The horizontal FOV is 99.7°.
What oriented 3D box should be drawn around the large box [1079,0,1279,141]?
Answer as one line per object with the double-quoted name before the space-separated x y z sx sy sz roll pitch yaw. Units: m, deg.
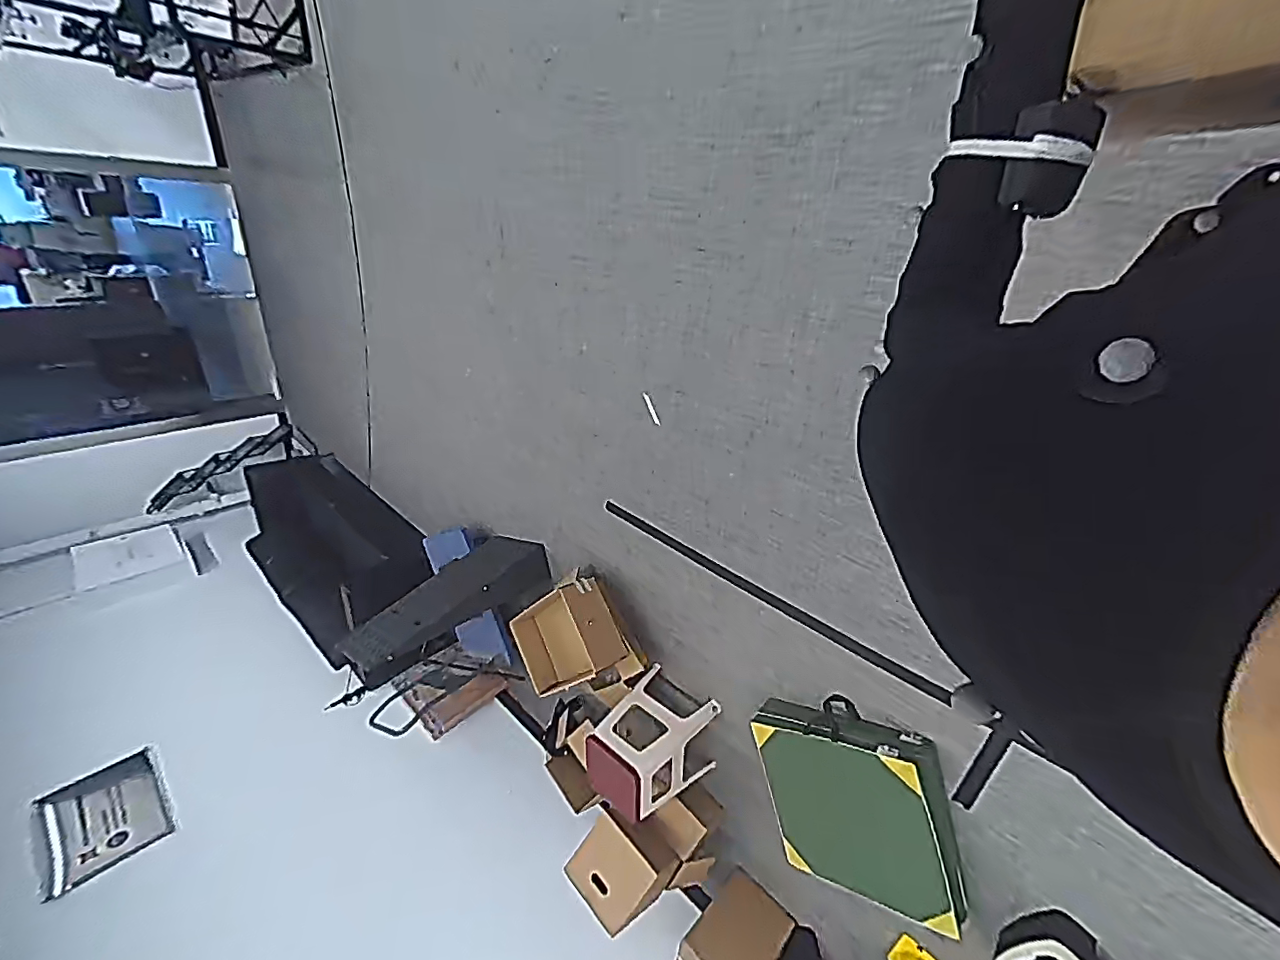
"large box" 0.532 -0.402 0.288 0.408 0.320 0.320 17 122 37
